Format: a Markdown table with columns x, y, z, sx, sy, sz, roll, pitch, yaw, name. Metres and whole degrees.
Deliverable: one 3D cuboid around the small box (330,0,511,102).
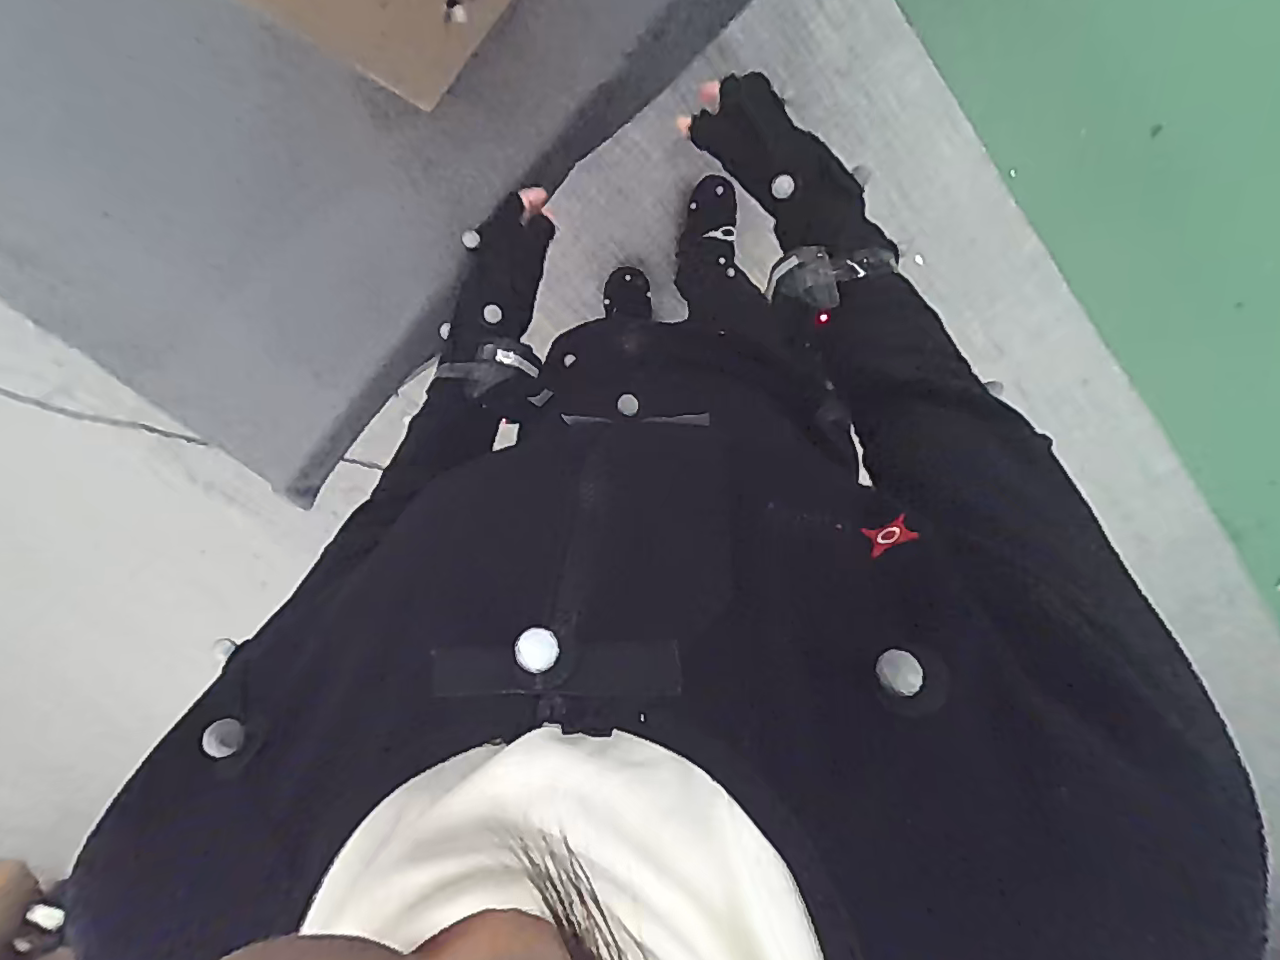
| x | y | z | sx | sy | sz | roll | pitch | yaw | name |
| --- | --- | --- | --- | --- | --- | --- | --- | --- | --- |
| -0.199 | -0.440 | 0.412 | 0.168 | 0.176 | 0.179 | 42 | 108 | -17 | small box |
